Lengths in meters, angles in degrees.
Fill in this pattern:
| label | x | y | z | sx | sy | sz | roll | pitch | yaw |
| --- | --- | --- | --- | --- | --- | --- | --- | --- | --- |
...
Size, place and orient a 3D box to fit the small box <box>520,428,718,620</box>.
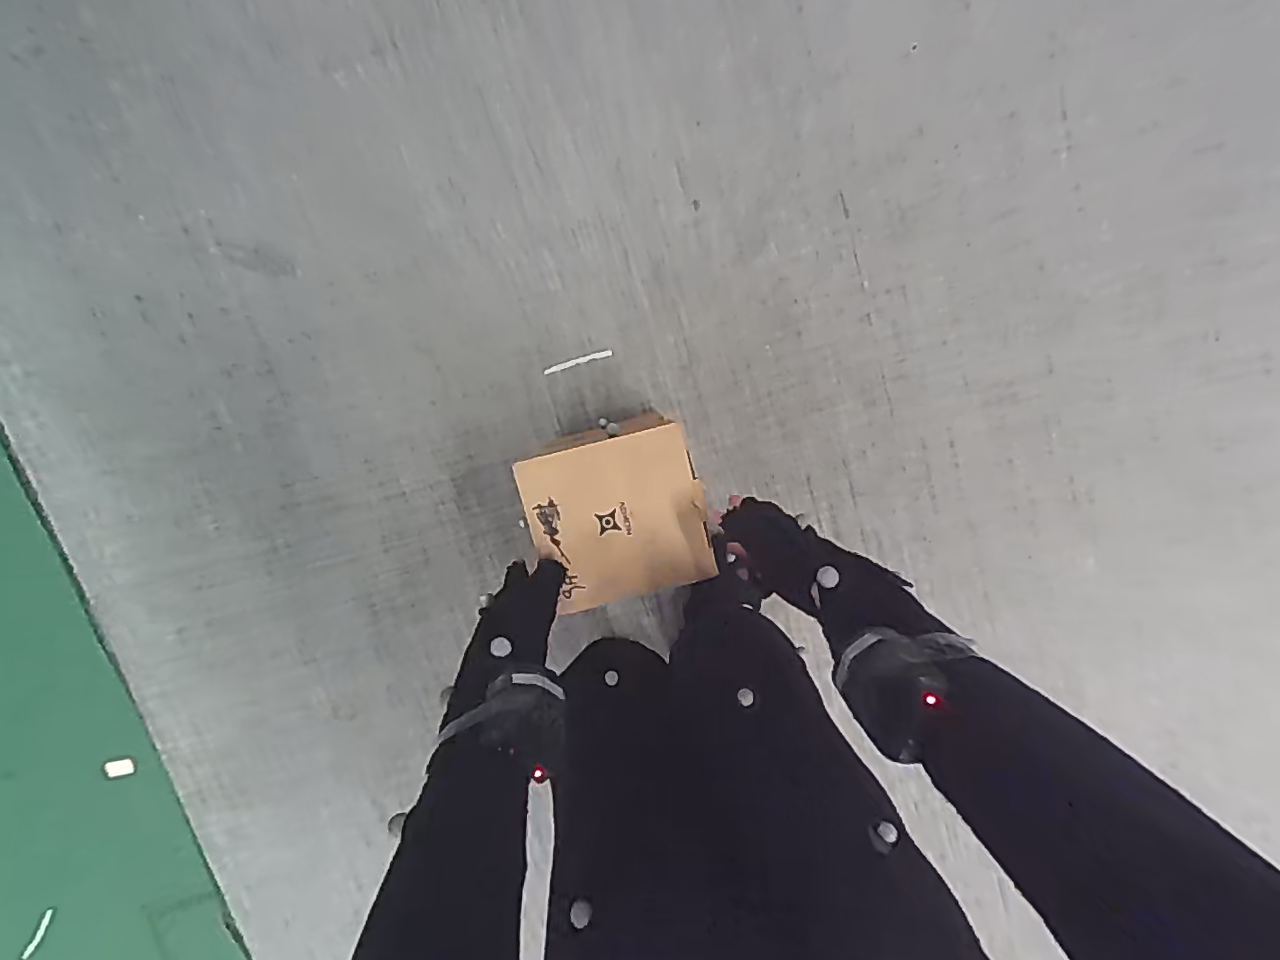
| label | x | y | z | sx | sy | sz | roll | pitch | yaw |
| --- | --- | --- | --- | --- | --- | --- | --- | --- | --- |
| small box | -0.023 | 0.038 | 0.629 | 0.179 | 0.176 | 0.168 | -14 | 98 | 0 |
